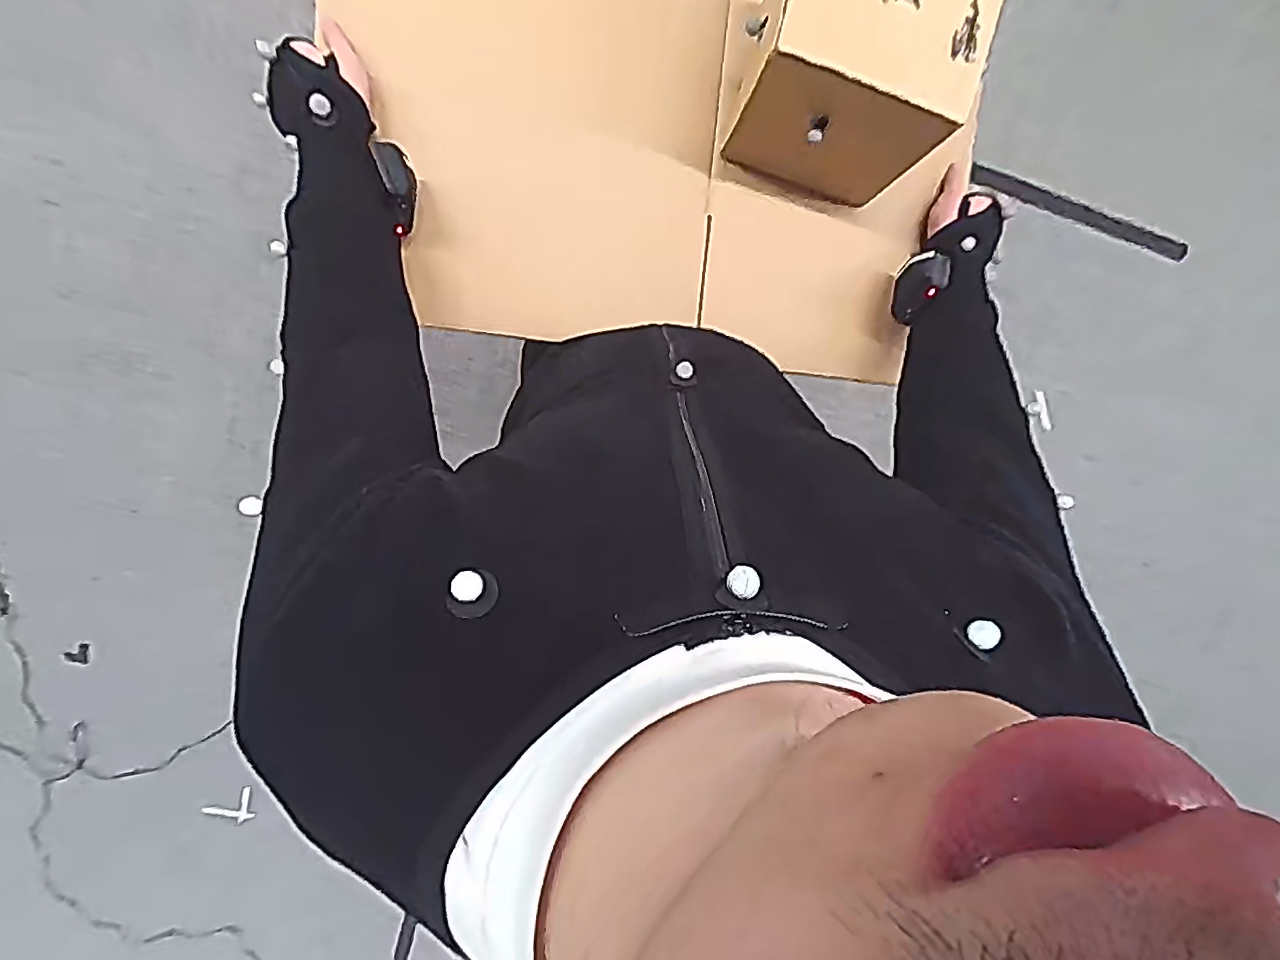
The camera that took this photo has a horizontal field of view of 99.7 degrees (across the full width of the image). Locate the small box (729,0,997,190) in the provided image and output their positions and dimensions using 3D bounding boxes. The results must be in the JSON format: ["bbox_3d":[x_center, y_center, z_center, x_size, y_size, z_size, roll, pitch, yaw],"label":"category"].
[{"bbox_3d":[0.201,-0.411,0.517,0.179,0.176,0.168,15,94,-7],"label":"small box"}]
